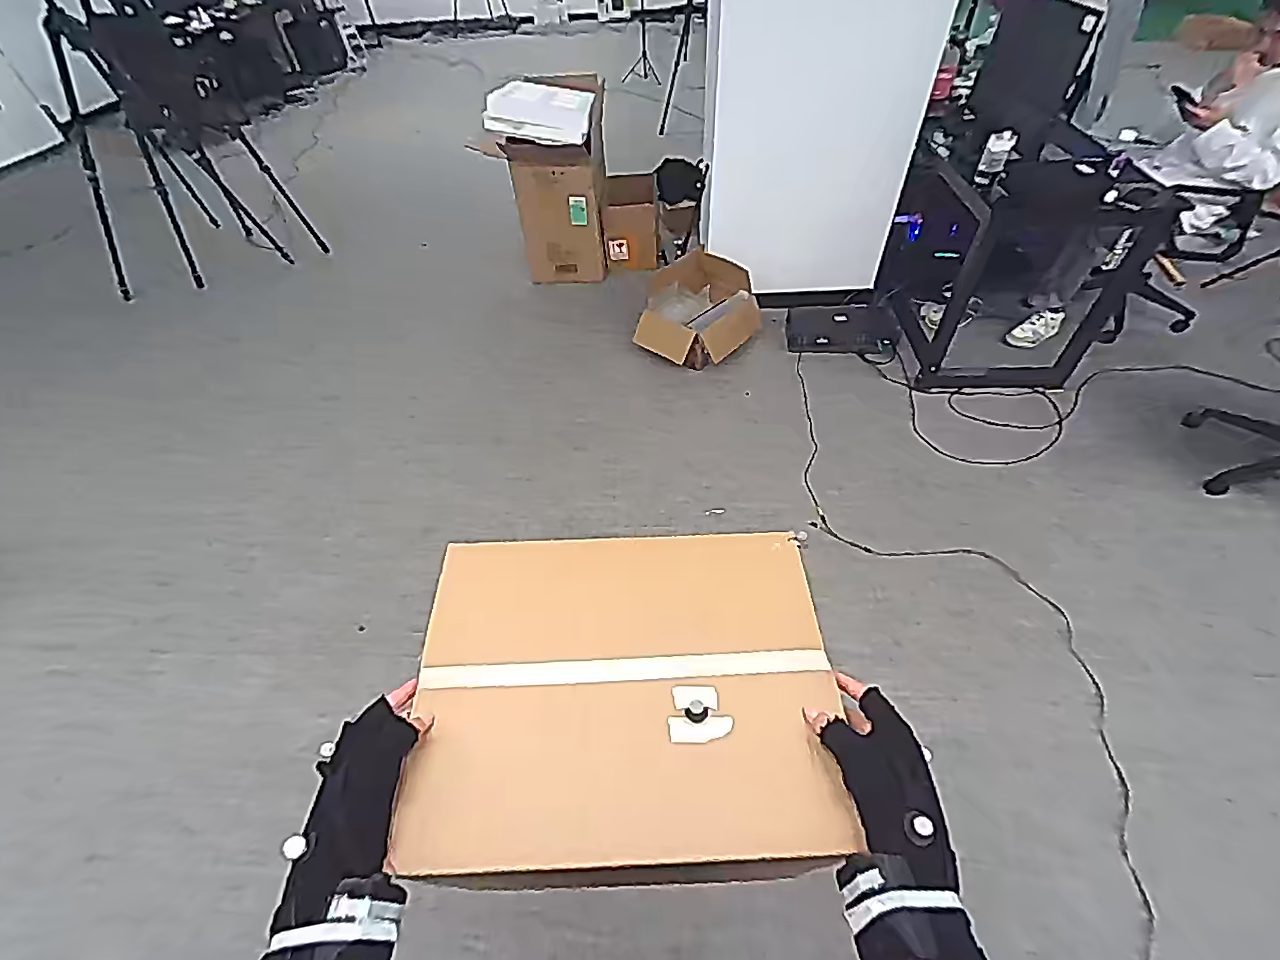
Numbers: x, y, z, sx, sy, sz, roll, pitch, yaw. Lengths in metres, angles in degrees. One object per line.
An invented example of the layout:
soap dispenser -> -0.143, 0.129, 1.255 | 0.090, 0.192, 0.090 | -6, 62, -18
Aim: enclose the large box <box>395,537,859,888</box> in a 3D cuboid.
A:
large box -> -0.016, 0.289, 0.663 | 0.408, 0.320, 0.320 | -2, 51, -1
